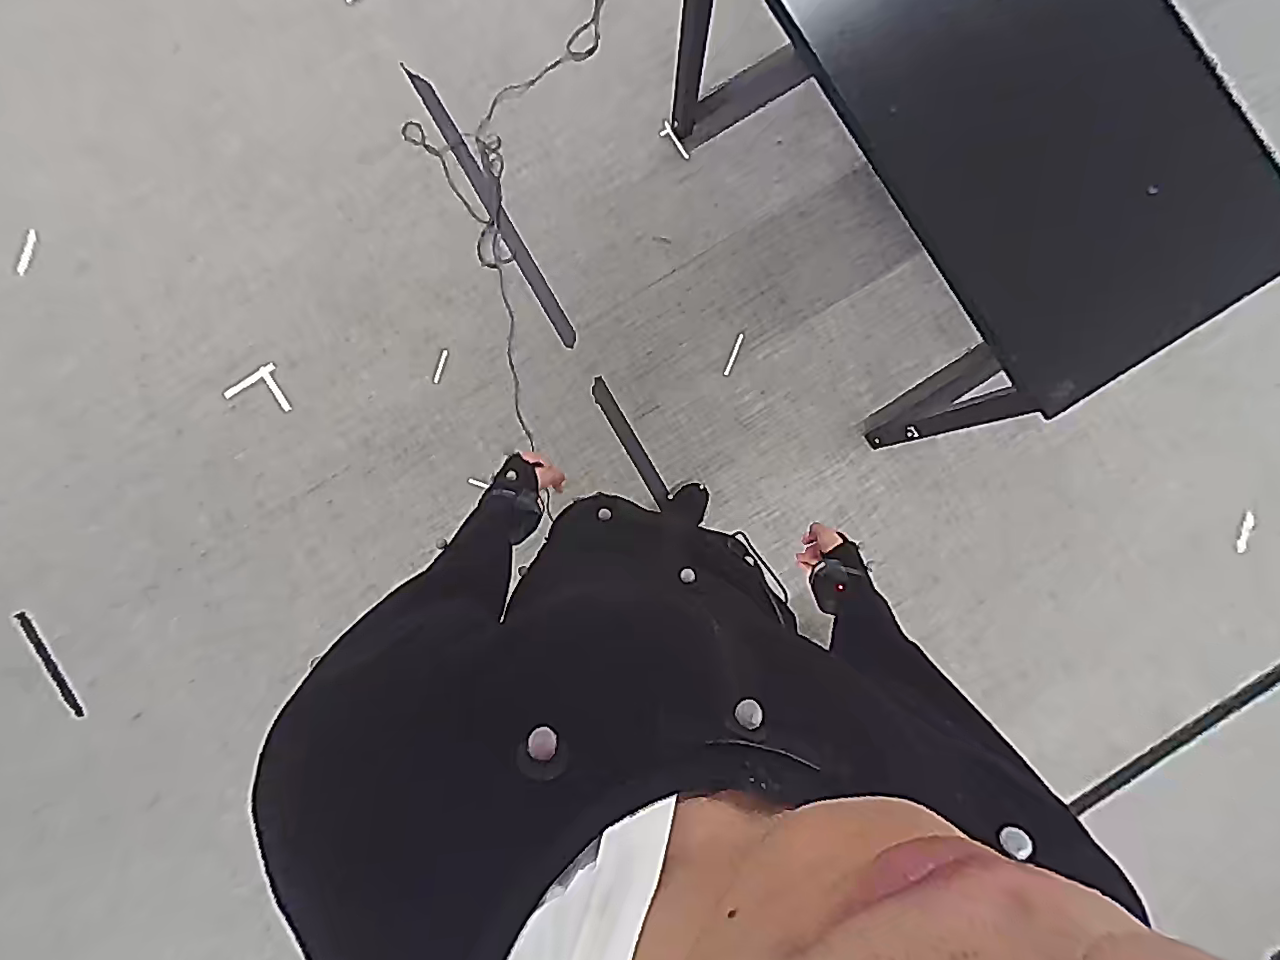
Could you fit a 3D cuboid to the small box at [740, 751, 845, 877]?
[{"bbox_3d":[0.374,0.825,1.353,0.168,0.176,0.179,-30,89,-2],"label":"small box"}]
